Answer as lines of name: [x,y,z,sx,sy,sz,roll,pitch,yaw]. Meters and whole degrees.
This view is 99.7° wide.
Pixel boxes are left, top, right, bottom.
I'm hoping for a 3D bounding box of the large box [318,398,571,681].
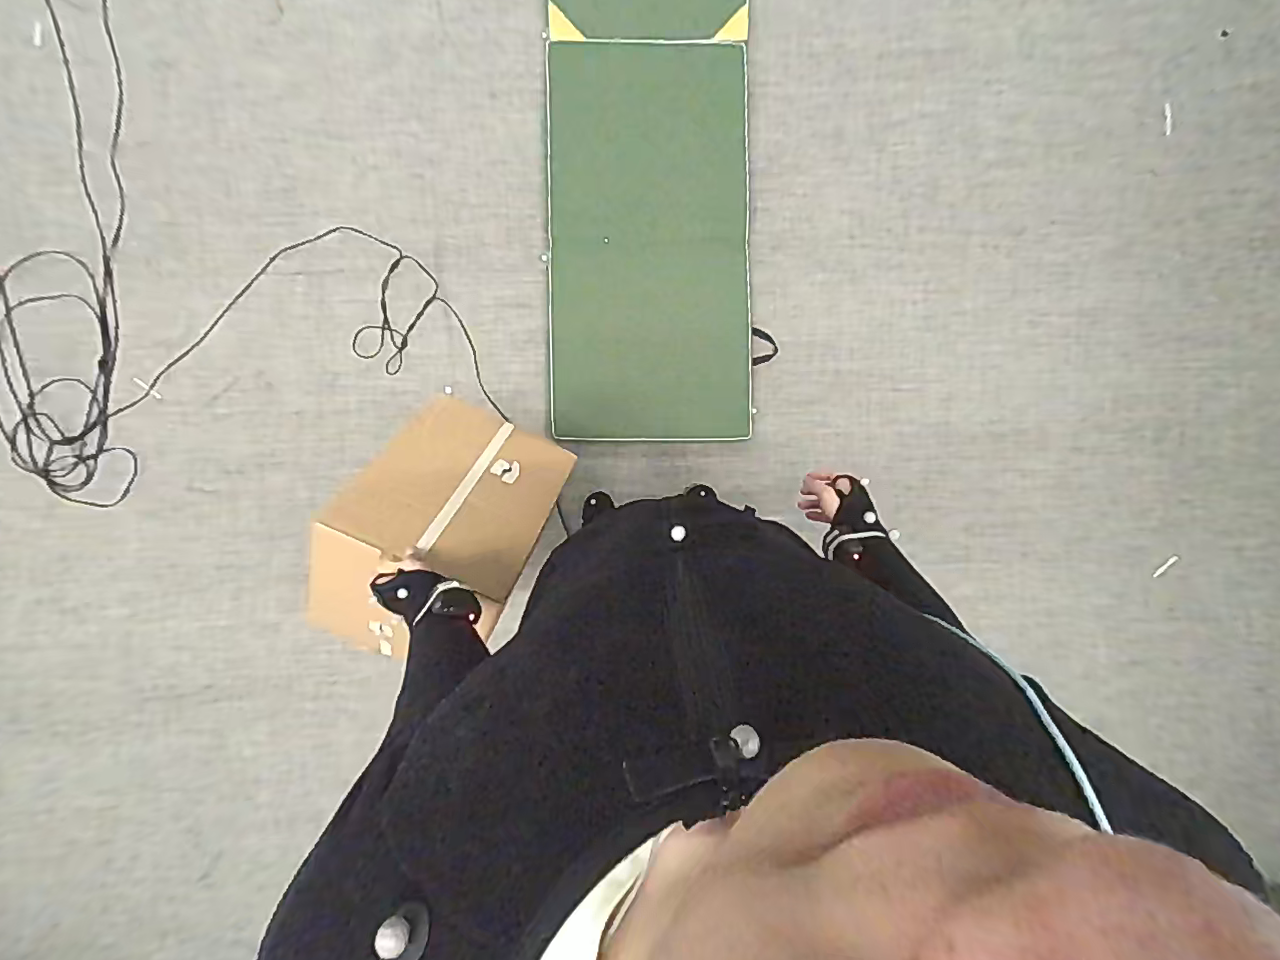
large box: [-0.377,0.112,1.081,0.320,0.408,0.320,26,129,-7]
